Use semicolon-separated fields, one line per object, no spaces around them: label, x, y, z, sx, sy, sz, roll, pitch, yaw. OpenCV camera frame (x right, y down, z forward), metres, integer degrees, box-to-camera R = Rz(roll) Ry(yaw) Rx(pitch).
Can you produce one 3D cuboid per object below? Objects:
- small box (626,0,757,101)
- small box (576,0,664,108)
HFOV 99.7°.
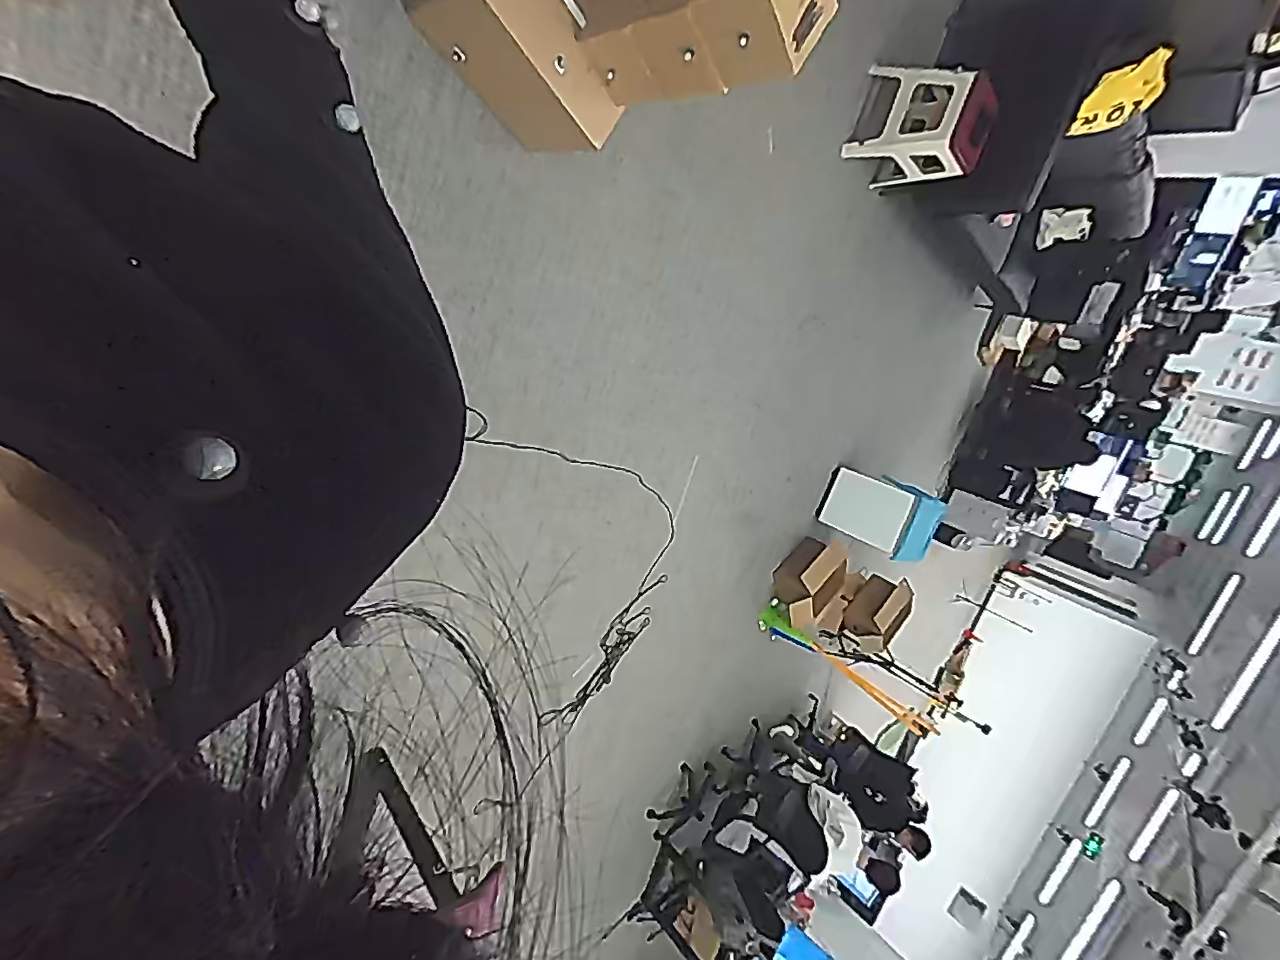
small box;0.105;-0.917;1.109;0.179;0.176;0.168;36;82;-49
small box;-0.011;-0.975;1.206;0.168;0.176;0.179;34;84;-50
